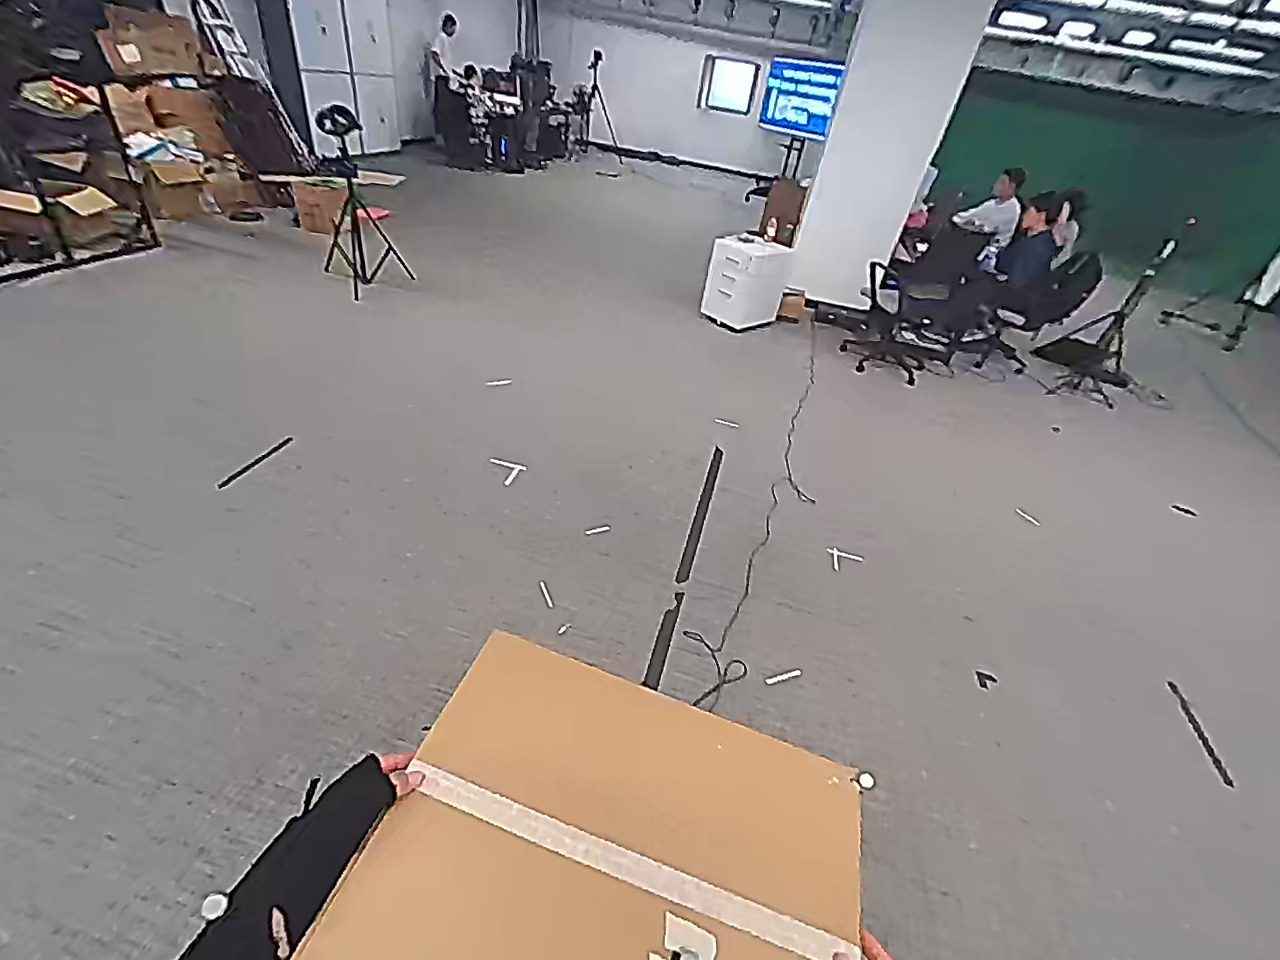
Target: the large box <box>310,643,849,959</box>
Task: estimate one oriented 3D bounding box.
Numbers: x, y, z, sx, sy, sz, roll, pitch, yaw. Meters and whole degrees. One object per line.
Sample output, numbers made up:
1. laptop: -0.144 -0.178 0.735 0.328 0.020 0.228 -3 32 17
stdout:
1. large box: -0.046 0.440 0.559 0.408 0.320 0.320 20 42 6
